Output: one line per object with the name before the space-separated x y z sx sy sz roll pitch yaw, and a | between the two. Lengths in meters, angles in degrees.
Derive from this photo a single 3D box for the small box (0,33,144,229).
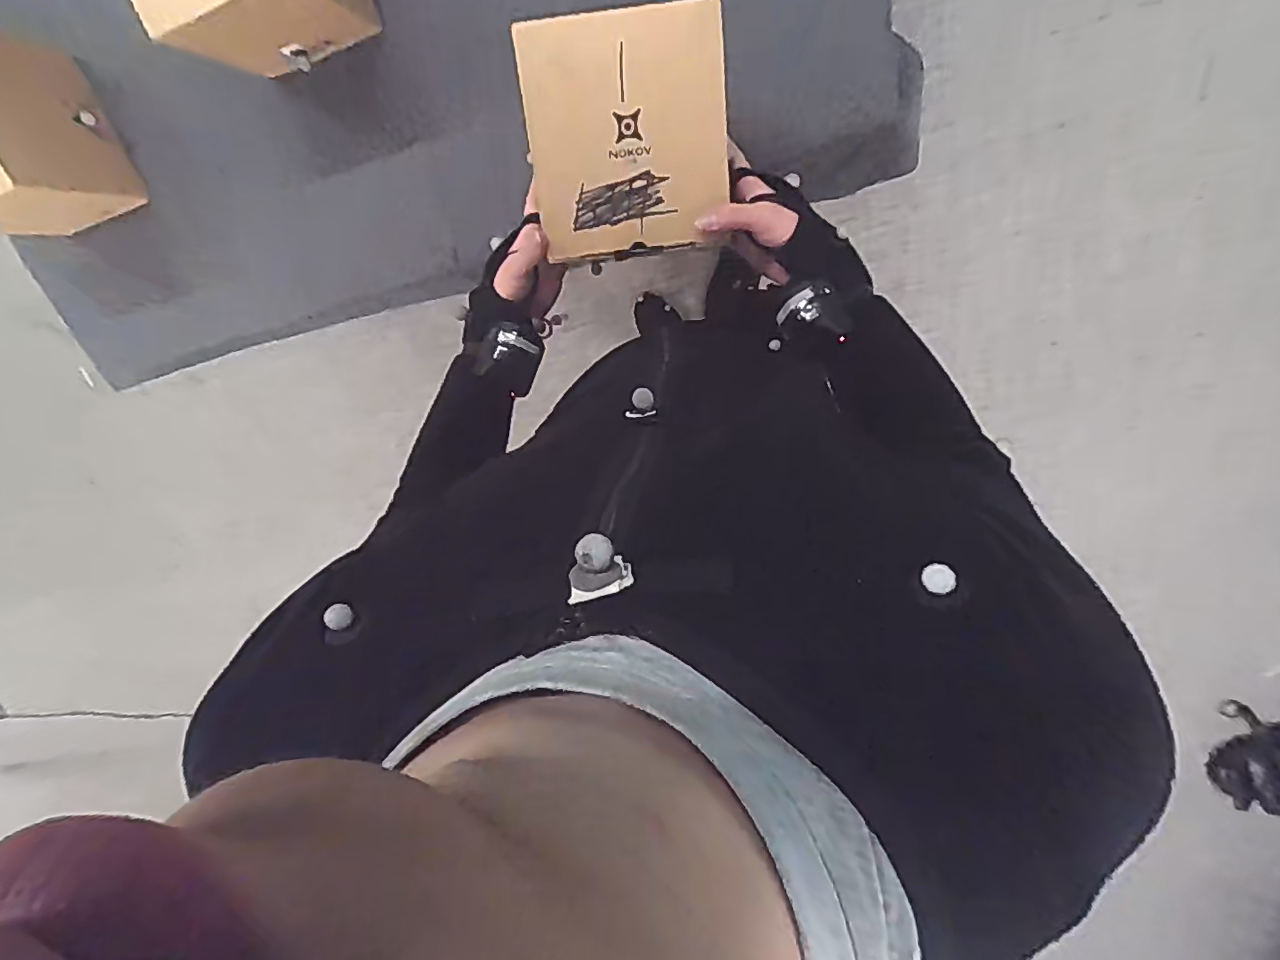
small box | -0.779 -0.416 0.650 0.168 0.176 0.179 -12 112 12

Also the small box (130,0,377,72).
small box | -0.410 -0.556 0.544 0.168 0.176 0.179 -12 114 14

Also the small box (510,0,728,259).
small box | -0.011 -0.313 0.517 0.168 0.176 0.179 -6 111 2
